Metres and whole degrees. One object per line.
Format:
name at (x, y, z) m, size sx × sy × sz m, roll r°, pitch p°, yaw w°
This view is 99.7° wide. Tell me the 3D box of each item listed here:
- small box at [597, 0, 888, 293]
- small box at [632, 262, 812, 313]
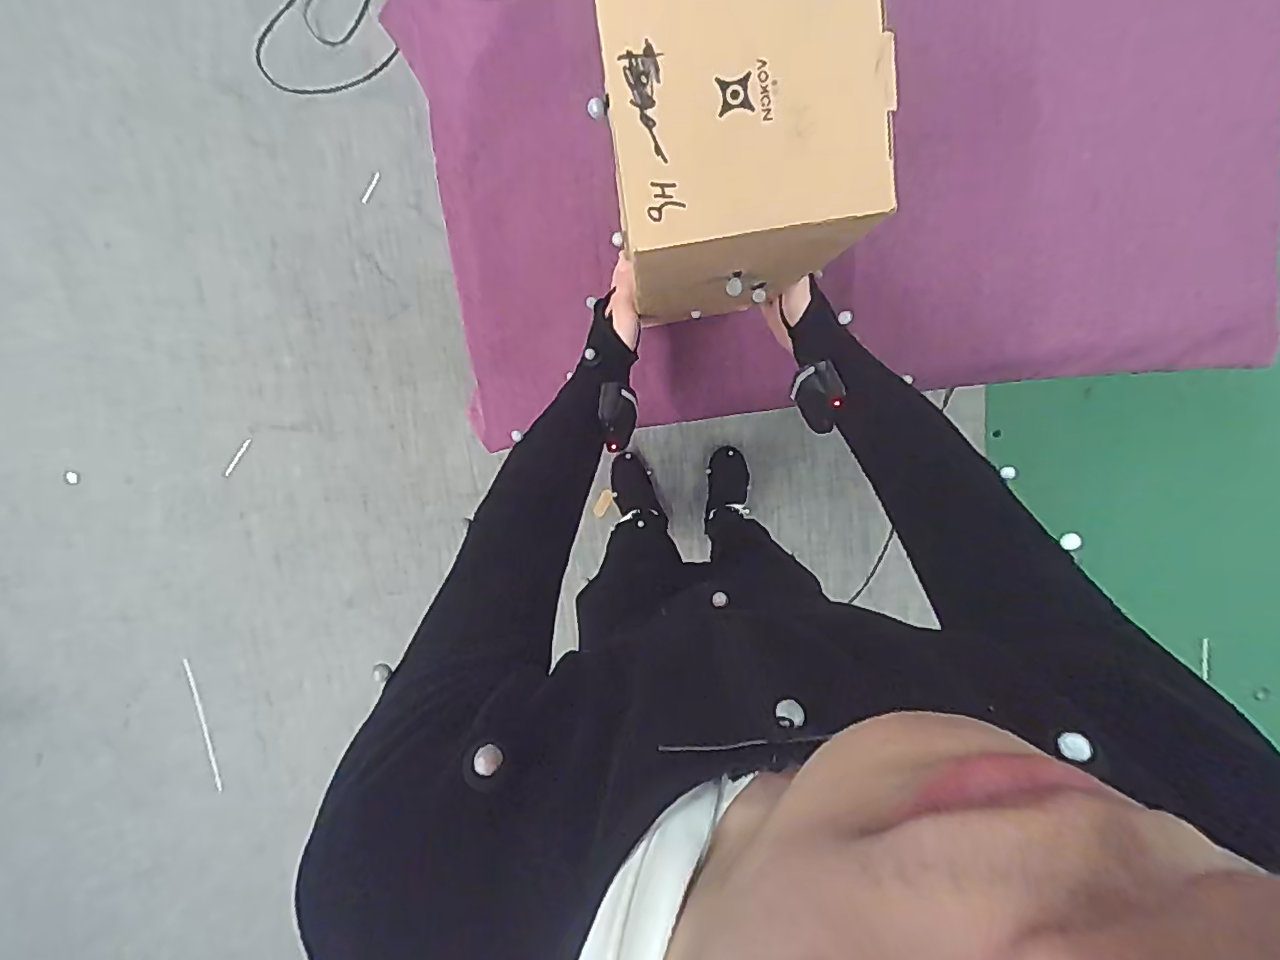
small box at (0.068, -0.255, 0.423) m, size 0.179 × 0.176 × 0.168 m, roll -7°, pitch 97°, yaw 2°
small box at (0.072, -0.284, 0.585) m, size 0.179 × 0.176 × 0.168 m, roll -7°, pitch 98°, yaw 3°
